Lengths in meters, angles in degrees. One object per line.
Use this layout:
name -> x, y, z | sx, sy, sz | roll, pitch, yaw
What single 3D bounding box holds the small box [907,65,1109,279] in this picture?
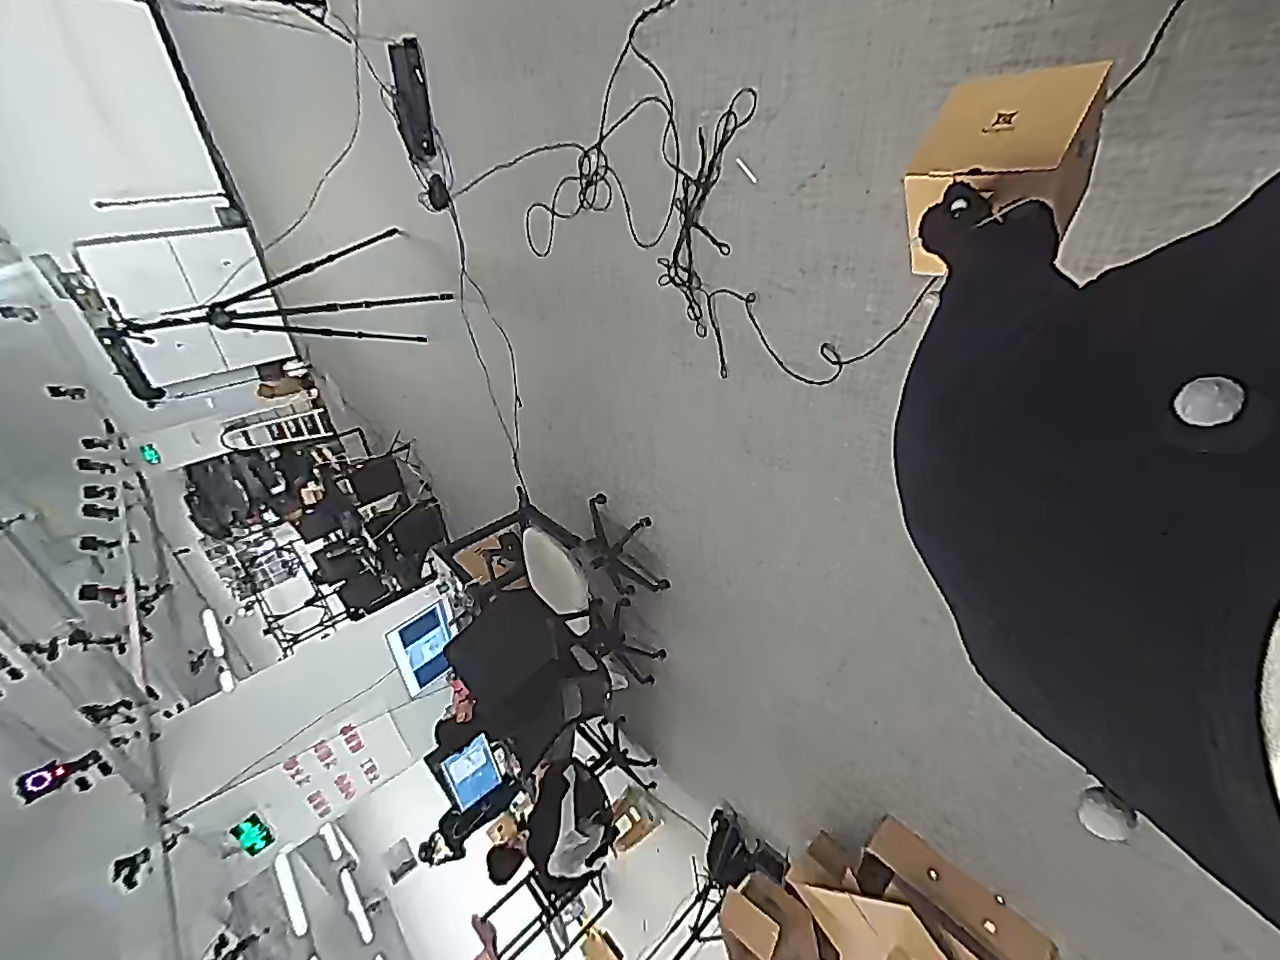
small box -> 0.480, -0.400, 0.723 | 0.168, 0.179, 0.176 | 23, 166, 39
